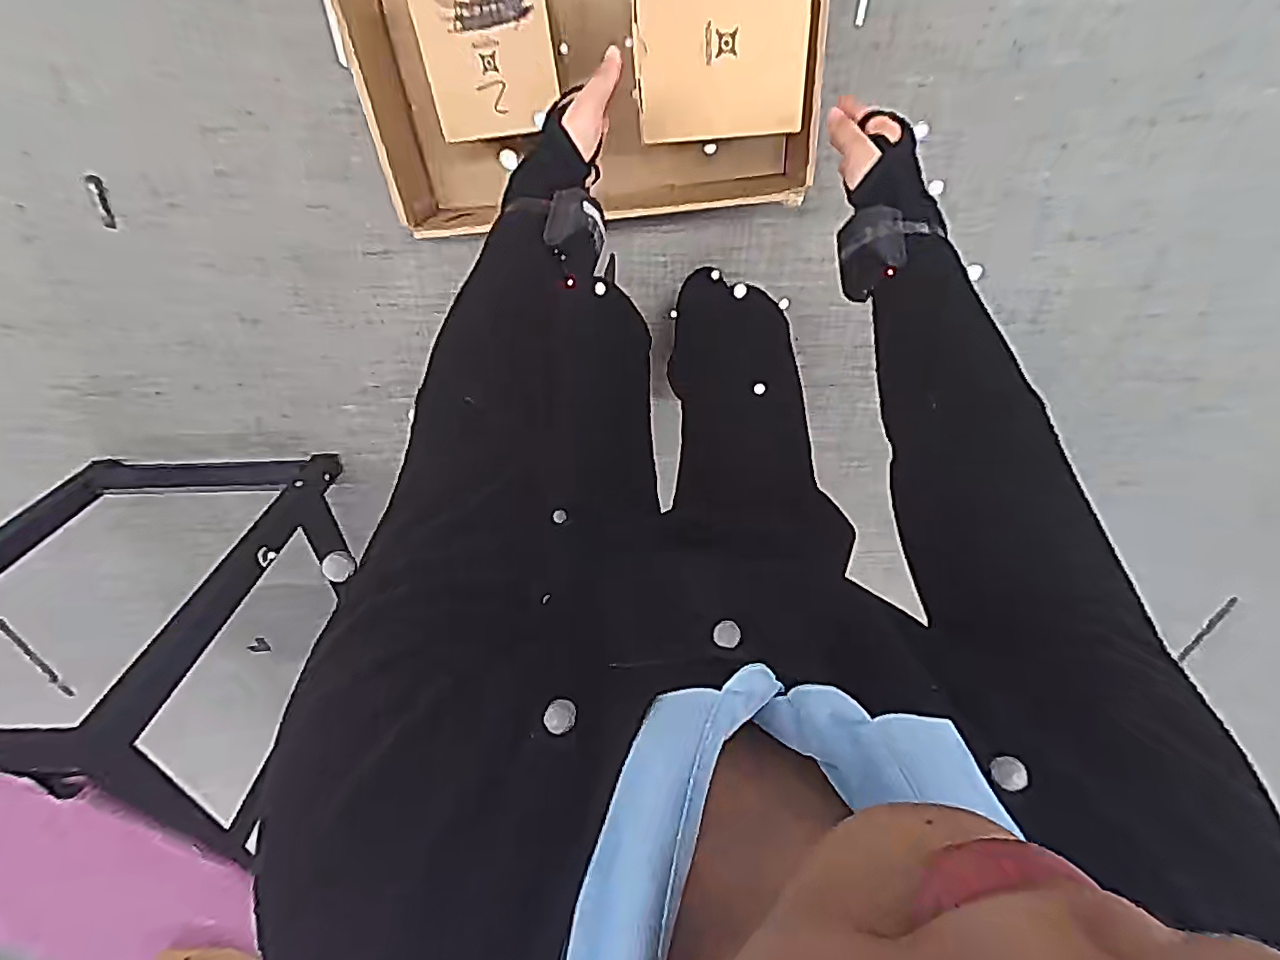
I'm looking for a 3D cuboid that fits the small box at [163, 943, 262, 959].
[{"bbox_3d":[-0.892,1.076,1.100,0.168,0.176,0.179,-1,125,0],"label":"small box"}]

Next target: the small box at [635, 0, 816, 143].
[{"bbox_3d":[0.086,-0.489,0.608,0.179,0.176,0.168,-3,126,3],"label":"small box"}]
